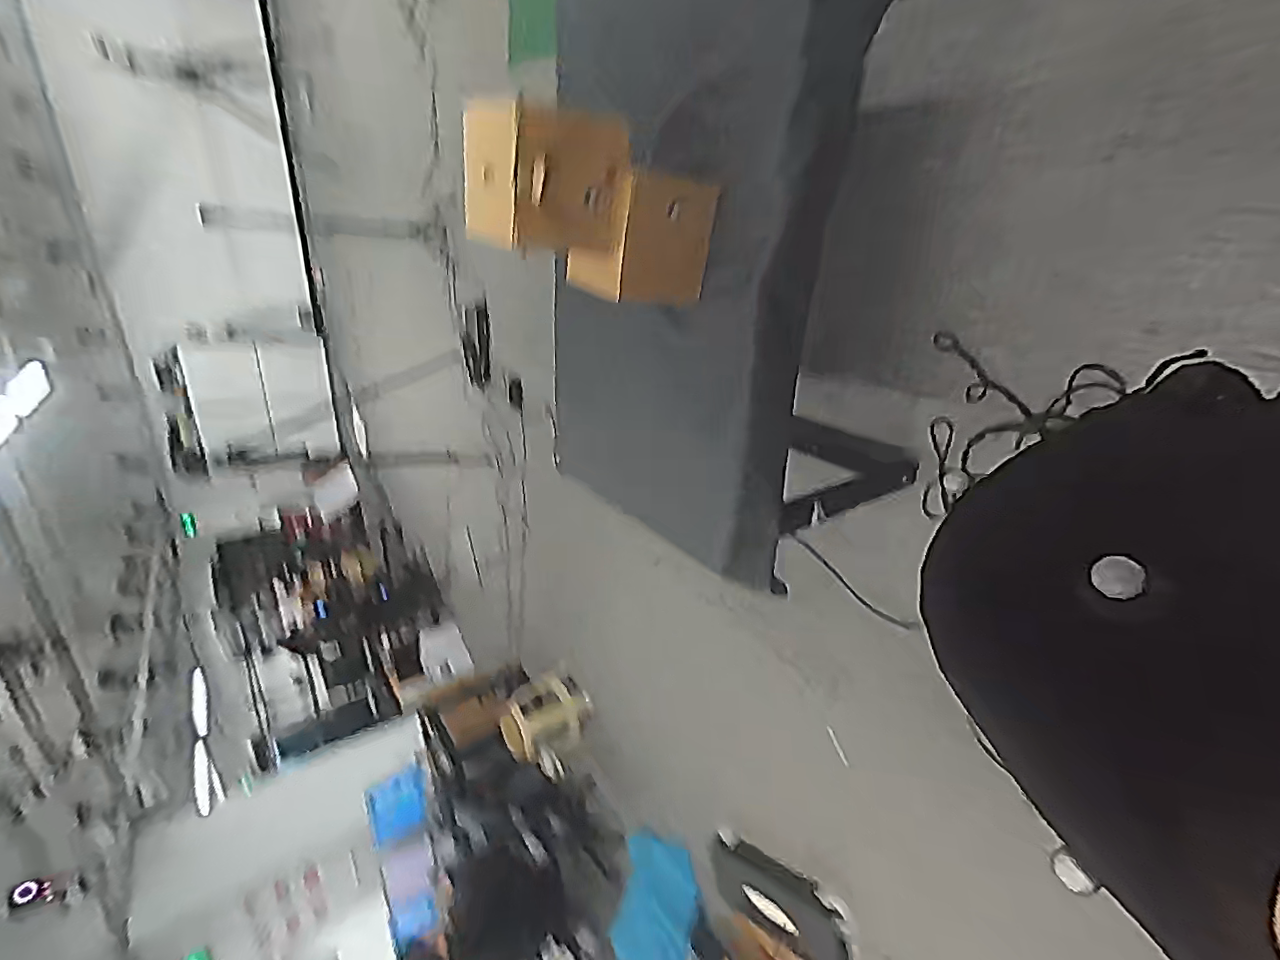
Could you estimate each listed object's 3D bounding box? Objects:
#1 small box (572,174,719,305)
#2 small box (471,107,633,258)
[{"bbox_3d":[0.007,-0.393,0.881,0.168,0.176,0.179,39,131,43],"label":"small box"},{"bbox_3d":[-0.134,-0.423,0.784,0.179,0.176,0.168,36,128,44],"label":"small box"}]
